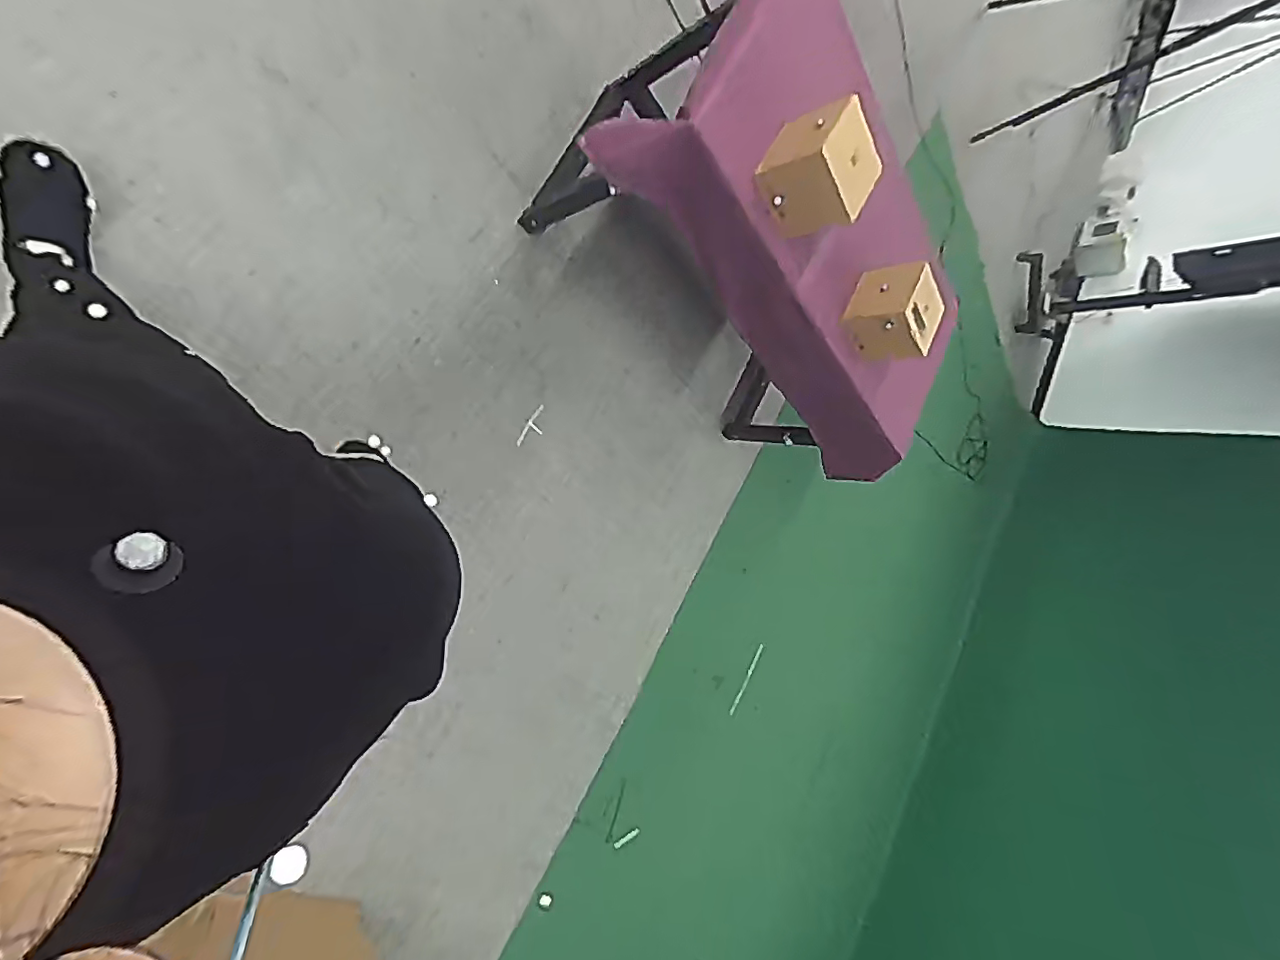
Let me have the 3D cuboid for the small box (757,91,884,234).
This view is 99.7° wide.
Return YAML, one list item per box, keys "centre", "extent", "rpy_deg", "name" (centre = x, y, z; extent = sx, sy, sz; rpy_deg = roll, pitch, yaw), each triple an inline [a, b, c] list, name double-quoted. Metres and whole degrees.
- centre: [0.373, -0.648, 1.122]
  extent: [0.168, 0.176, 0.179]
  rpy_deg: [44, 69, -35]
  name: "small box"
